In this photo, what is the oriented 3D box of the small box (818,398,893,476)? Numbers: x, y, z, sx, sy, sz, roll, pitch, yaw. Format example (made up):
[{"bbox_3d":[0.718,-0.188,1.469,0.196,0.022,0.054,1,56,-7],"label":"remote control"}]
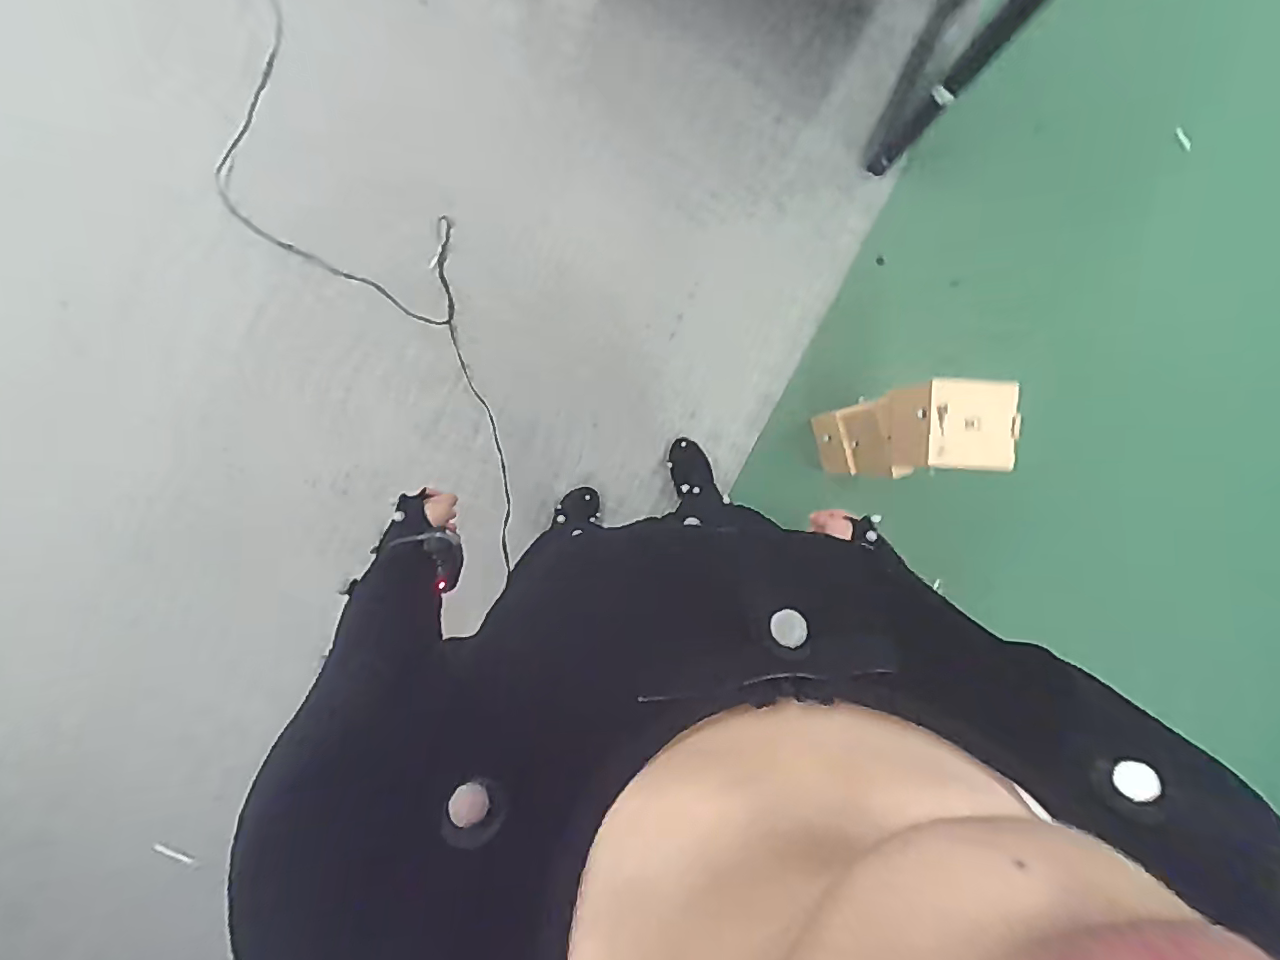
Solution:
[{"bbox_3d":[0.588,-0.108,1.423,0.179,0.176,0.168,-16,92,-3],"label":"small box"}]

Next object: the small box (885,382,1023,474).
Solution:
[{"bbox_3d":[0.627,-0.099,1.096,0.179,0.176,0.168,3,91,-3],"label":"small box"}]
